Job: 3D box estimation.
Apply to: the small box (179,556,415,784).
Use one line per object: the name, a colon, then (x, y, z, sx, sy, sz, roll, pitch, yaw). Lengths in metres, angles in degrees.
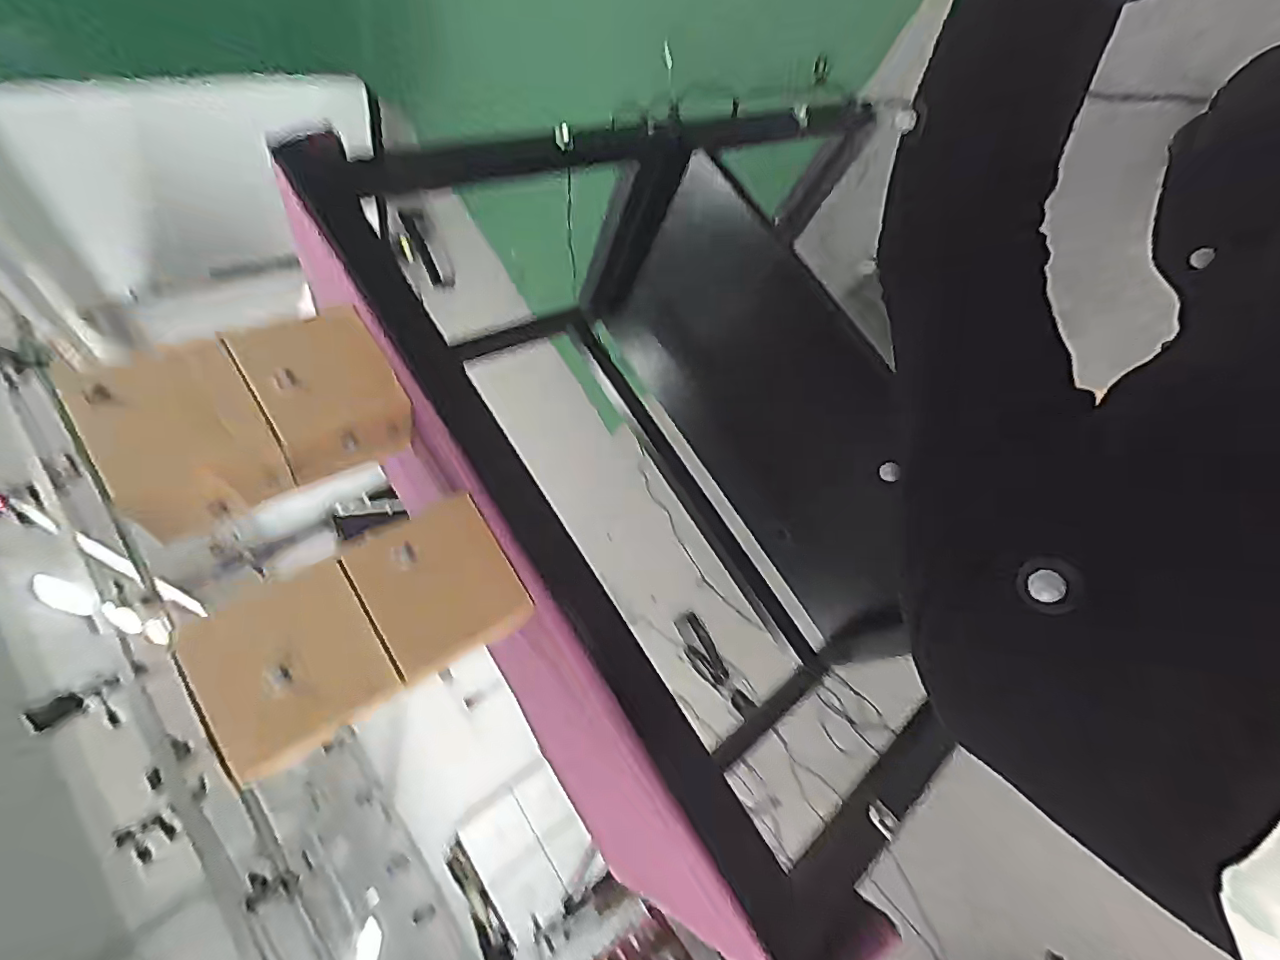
small box: (-0.384, 0.219, 0.642, 0.179, 0.176, 0.168, 57, 150, 8)

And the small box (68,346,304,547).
small box: (-0.555, -0.044, 0.696, 0.179, 0.176, 0.168, 58, 148, 7)

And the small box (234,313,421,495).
small box: (-0.433, -0.111, 0.778, 0.179, 0.176, 0.168, 57, 148, 8)
